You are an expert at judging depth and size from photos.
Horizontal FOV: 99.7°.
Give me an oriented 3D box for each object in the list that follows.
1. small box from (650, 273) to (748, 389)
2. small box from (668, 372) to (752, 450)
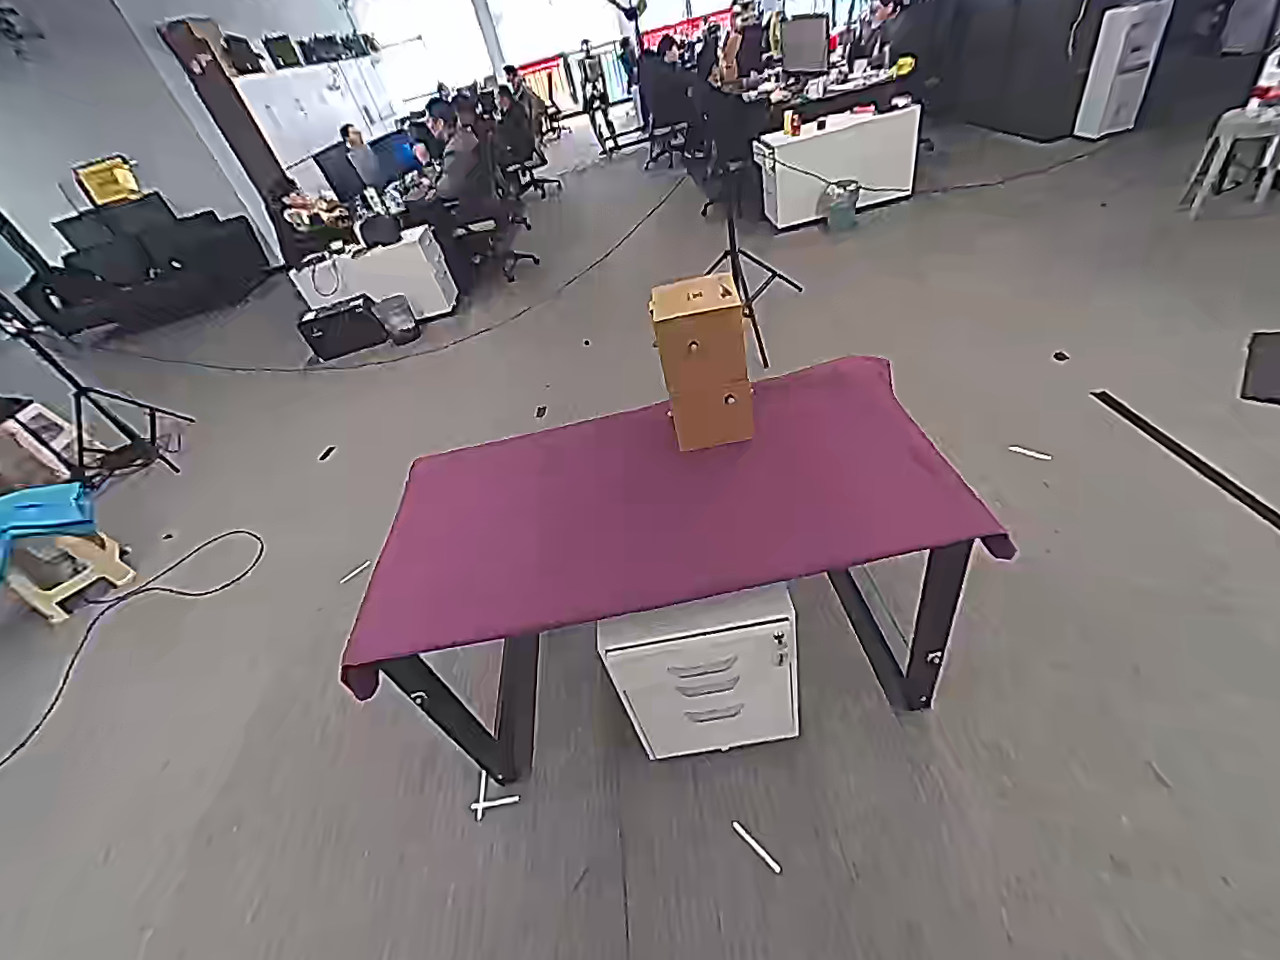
[{"bbox_3d":[0.126,-0.312,1.150,0.179,0.176,0.168,-10,42,9],"label":"small box"},{"bbox_3d":[0.162,-0.191,1.256,0.179,0.176,0.168,-10,41,7],"label":"small box"}]
